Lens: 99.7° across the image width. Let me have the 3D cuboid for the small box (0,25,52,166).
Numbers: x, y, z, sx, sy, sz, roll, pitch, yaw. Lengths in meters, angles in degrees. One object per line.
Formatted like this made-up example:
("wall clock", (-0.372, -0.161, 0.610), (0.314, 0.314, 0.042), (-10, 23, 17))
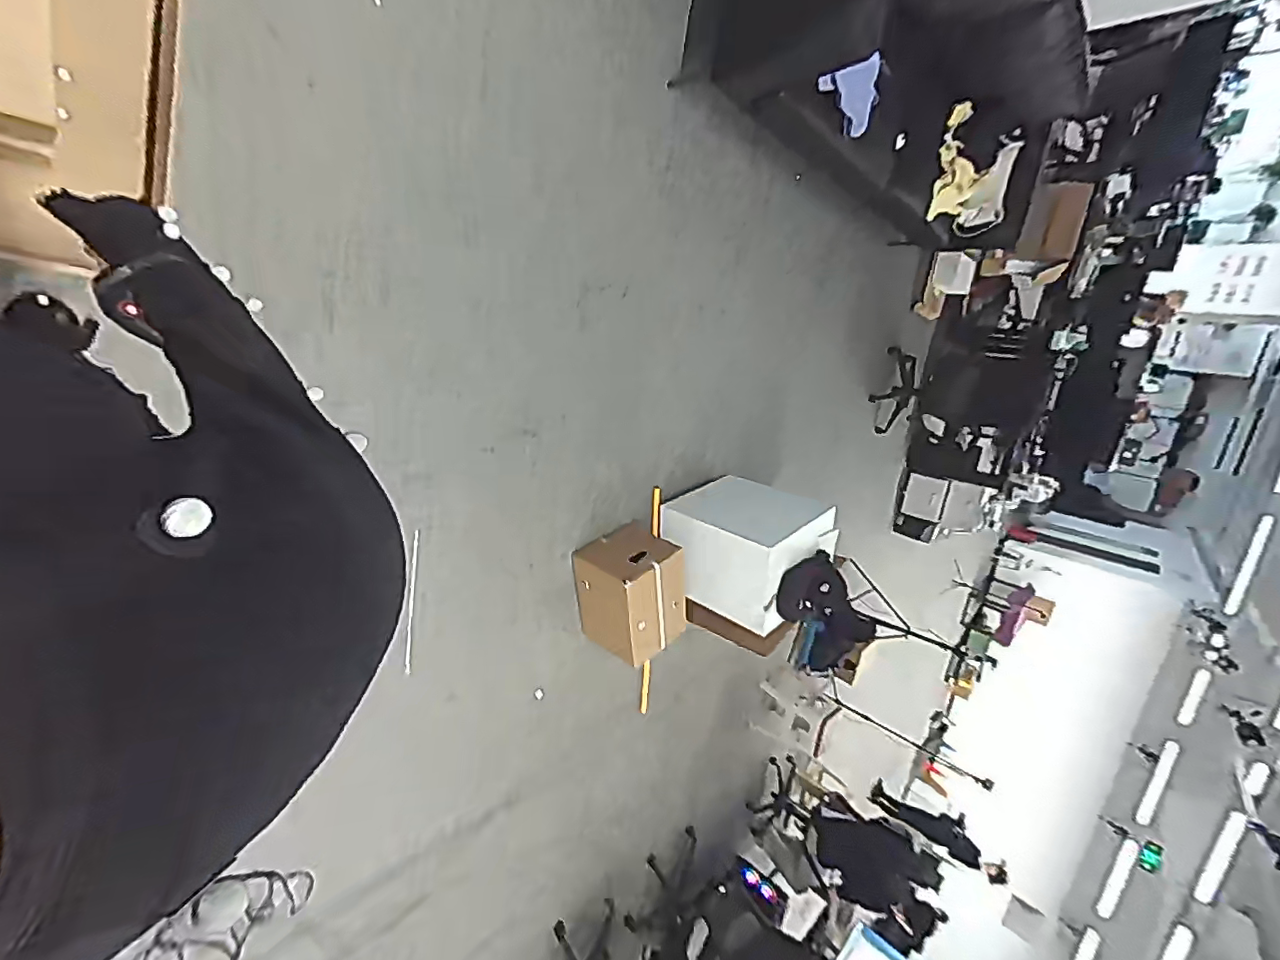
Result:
("small box", (-0.973, -0.586, 0.779), (0.168, 0.176, 0.179), (-1, 104, -48))

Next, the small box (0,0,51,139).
("small box", (-0.855, -0.555, 0.669), (0.168, 0.176, 0.179), (-5, 107, -48))
